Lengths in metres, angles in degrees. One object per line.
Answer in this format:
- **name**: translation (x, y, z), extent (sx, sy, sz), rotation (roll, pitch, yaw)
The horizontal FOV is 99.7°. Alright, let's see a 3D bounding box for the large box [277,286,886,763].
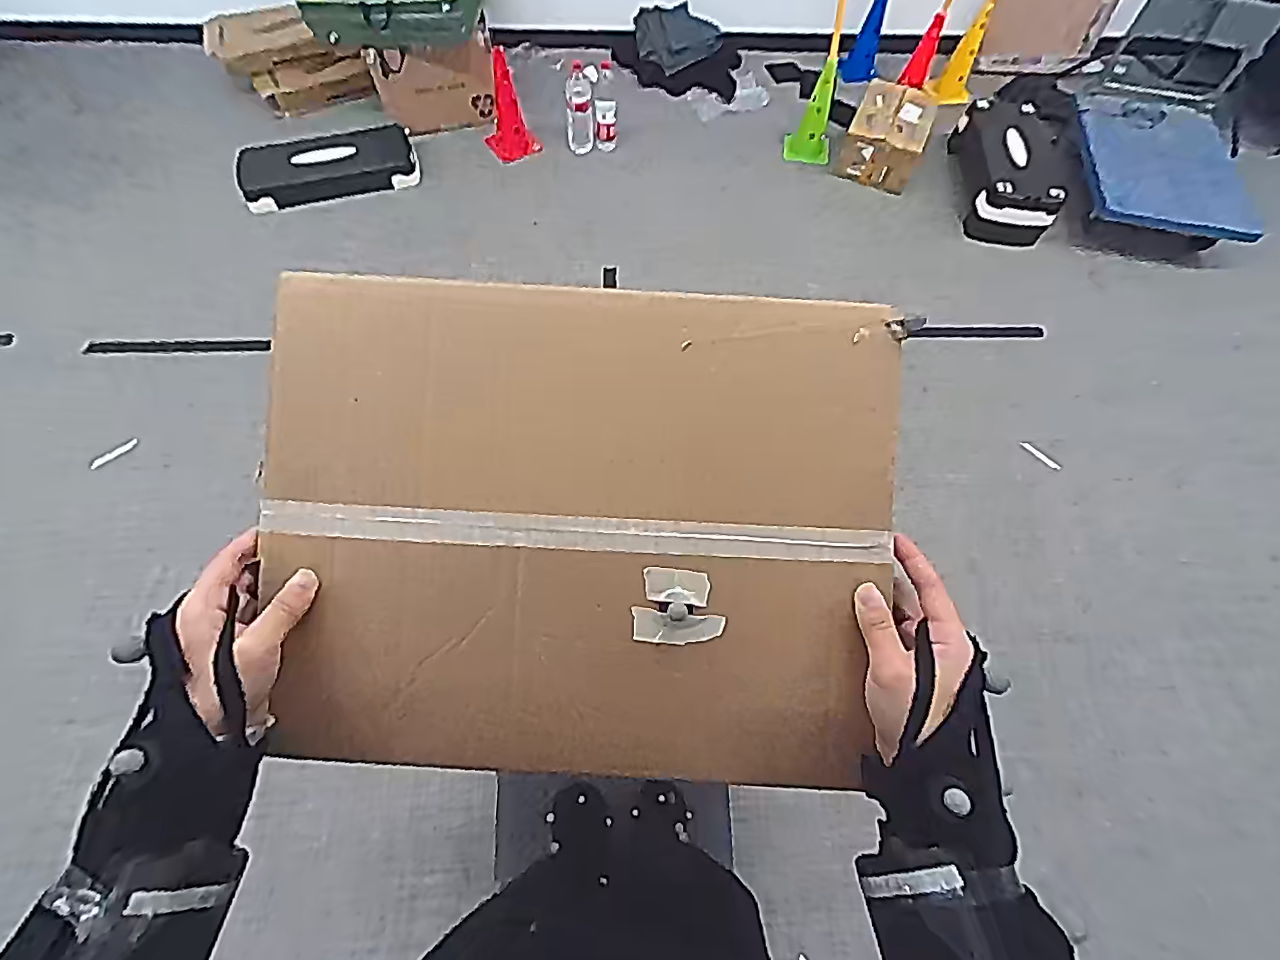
- **large box**: translation (-0.039, 0.032, 0.510), extent (0.408, 0.320, 0.320), rotation (3, 90, 0)
